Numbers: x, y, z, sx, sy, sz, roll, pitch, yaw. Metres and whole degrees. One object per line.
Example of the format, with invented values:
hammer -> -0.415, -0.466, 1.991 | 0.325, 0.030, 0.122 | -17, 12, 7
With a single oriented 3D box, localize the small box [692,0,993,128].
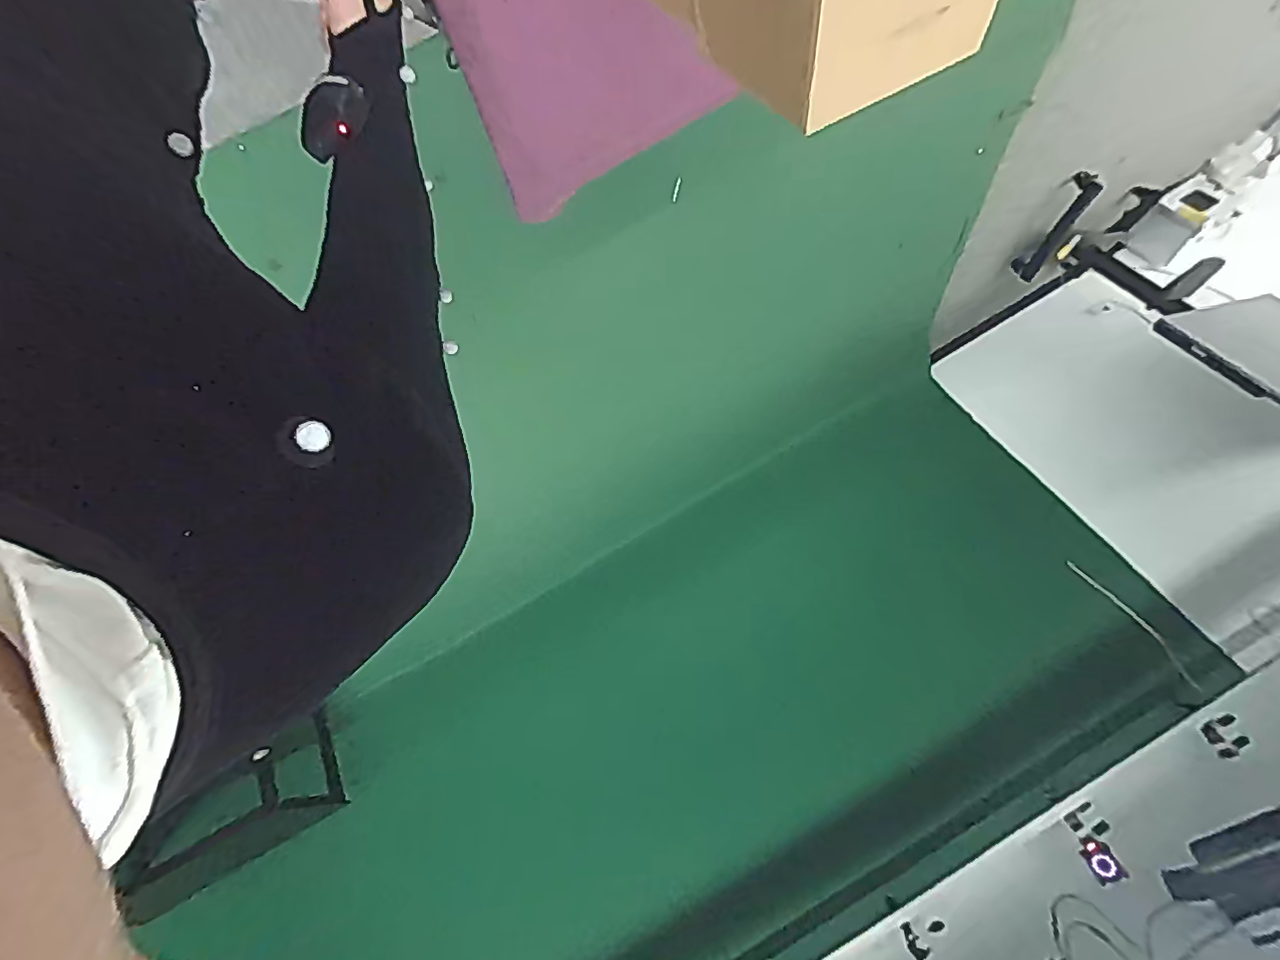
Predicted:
small box -> 0.143, -0.402, 0.379 | 0.168, 0.176, 0.179 | -28, 153, -5
